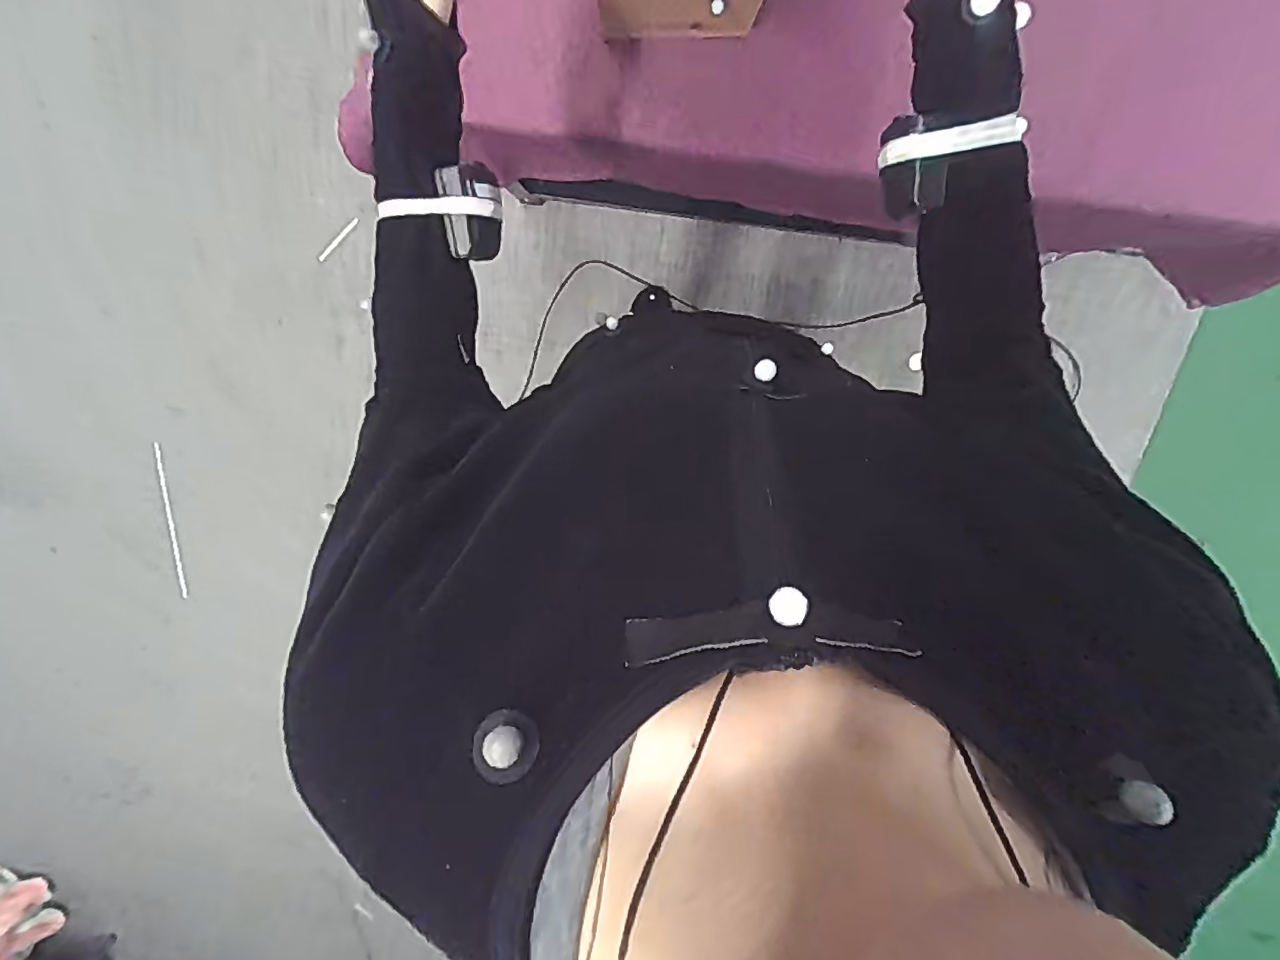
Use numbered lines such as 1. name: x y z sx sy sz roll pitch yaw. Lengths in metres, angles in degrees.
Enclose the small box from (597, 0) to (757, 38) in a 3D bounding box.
1. small box: 0.038 -0.547 0.501 0.168 0.176 0.179 -1 107 -1
